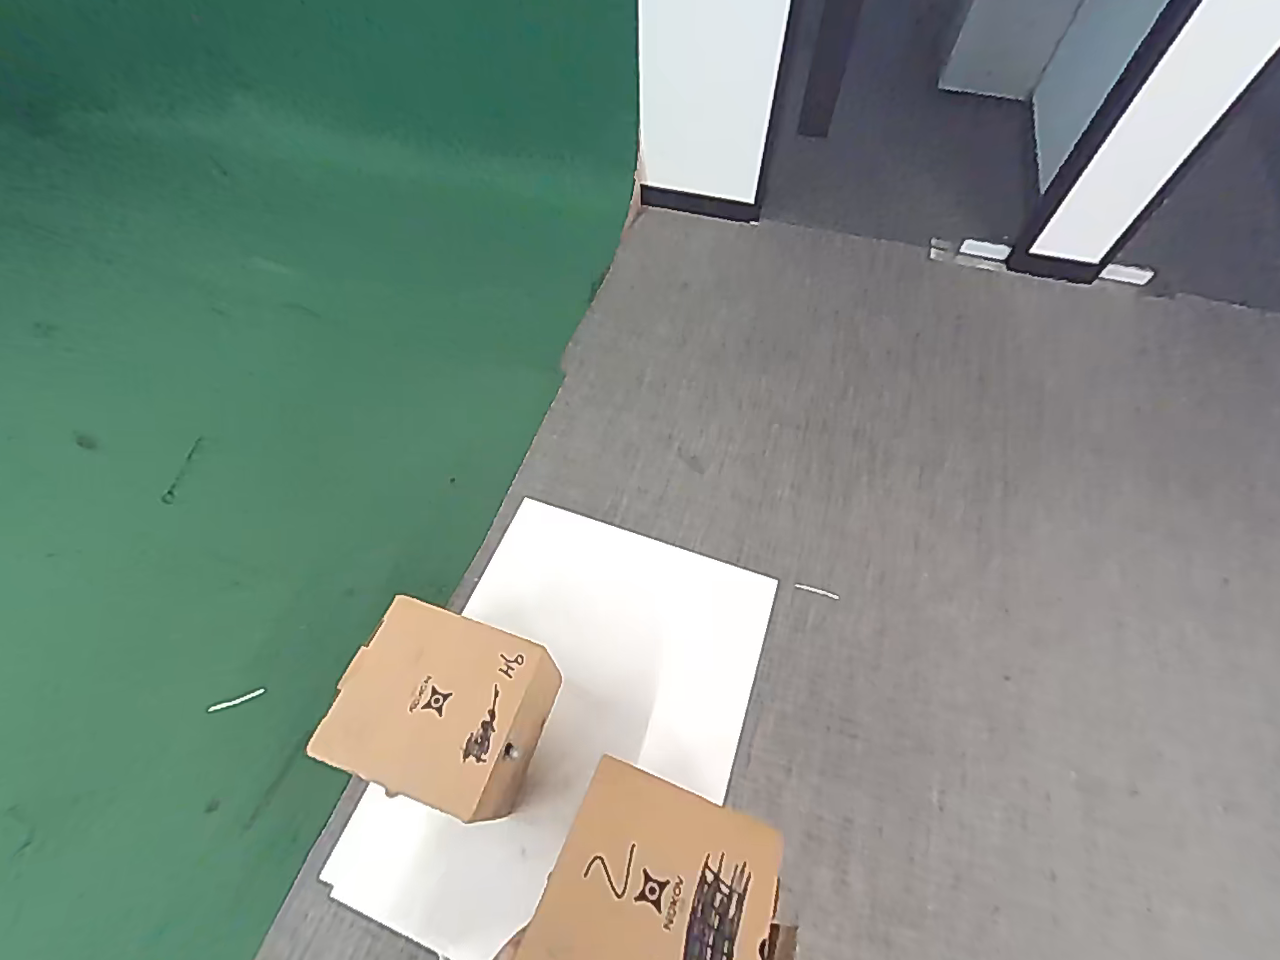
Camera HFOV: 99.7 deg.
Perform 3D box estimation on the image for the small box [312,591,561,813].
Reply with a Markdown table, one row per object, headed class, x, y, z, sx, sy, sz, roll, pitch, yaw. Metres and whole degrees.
| class | x | y | z | sx | sy | sz | roll | pitch | yaw |
| --- | --- | --- | --- | --- | --- | --- | --- | --- | --- |
| small box | -0.204 | 0.251 | 0.602 | 0.179 | 0.176 | 0.168 | 17 | 60 | 10 |
